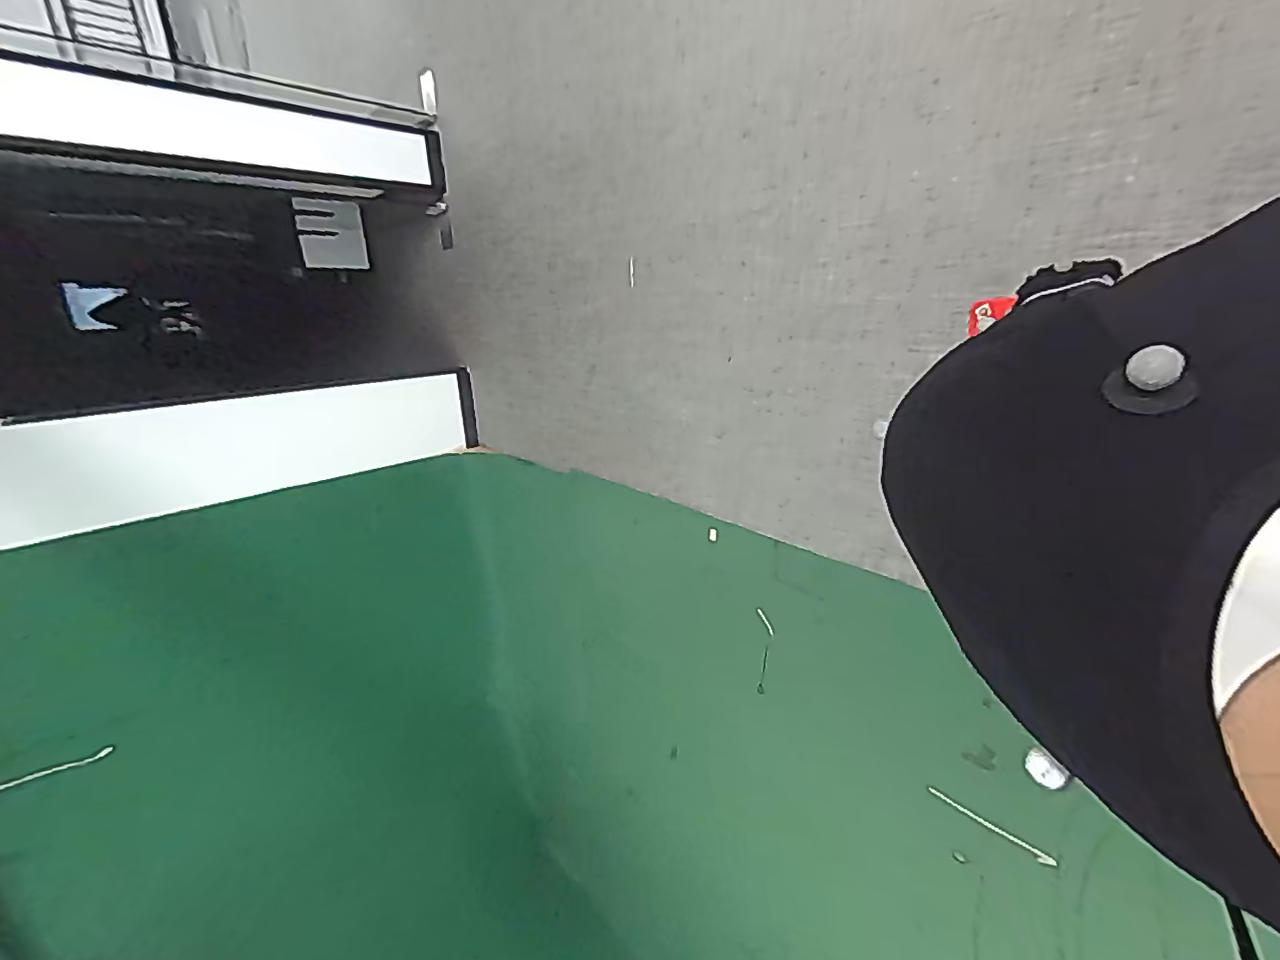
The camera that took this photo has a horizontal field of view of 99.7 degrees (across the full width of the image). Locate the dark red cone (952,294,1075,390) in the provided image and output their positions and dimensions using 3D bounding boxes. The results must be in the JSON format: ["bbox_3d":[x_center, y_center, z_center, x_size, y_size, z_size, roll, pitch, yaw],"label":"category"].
[{"bbox_3d":[0.720,-0.259,1.100,0.202,0.394,0.201,10,113,46],"label":"dark red cone"}]
